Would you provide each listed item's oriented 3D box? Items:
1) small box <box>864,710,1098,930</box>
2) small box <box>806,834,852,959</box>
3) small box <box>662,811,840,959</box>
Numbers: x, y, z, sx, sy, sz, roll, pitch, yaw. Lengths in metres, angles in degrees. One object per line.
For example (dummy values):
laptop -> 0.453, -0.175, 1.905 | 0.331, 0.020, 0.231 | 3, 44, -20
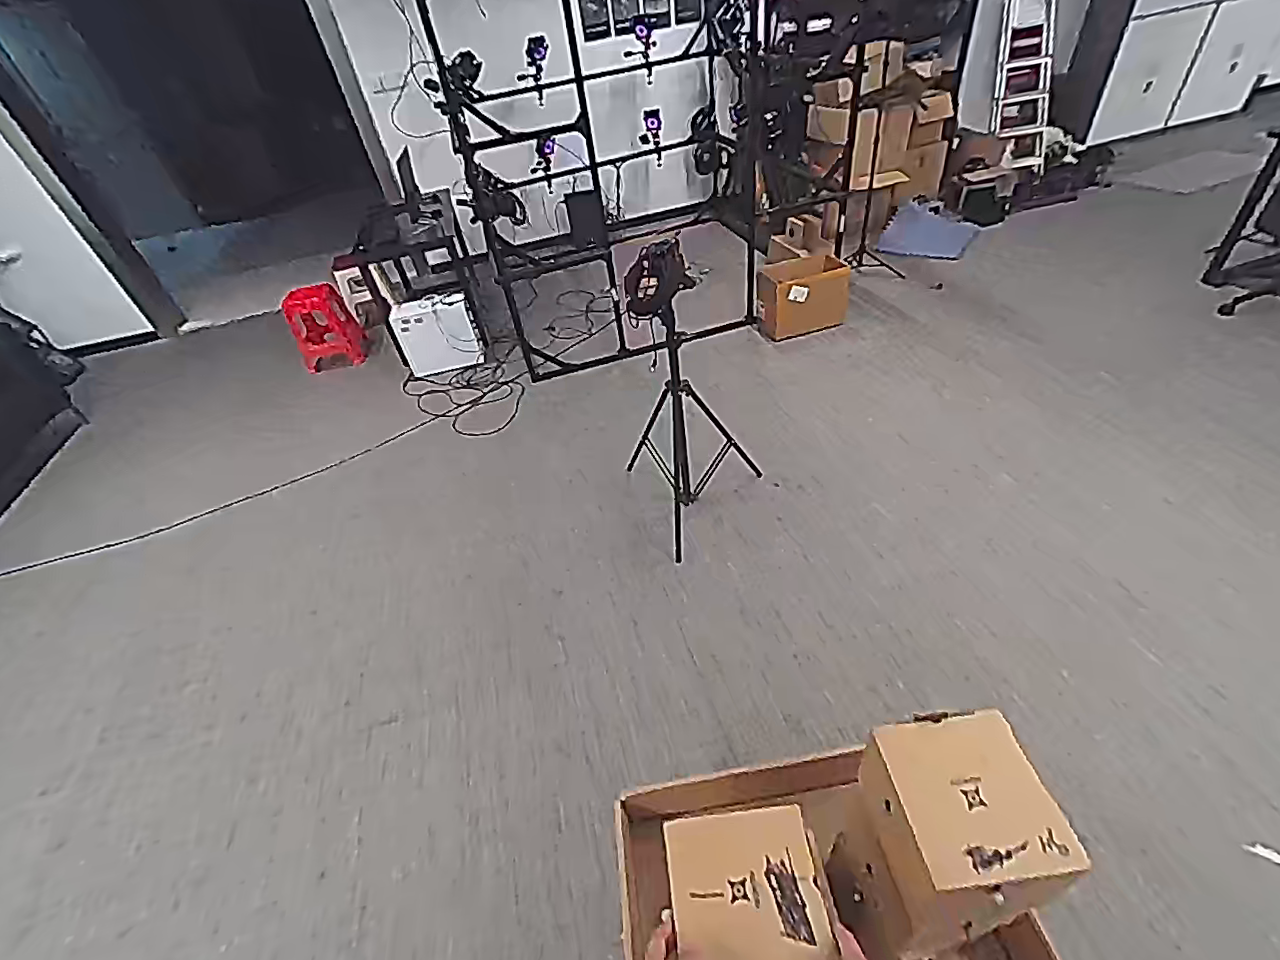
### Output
small box -> 0.391, 0.416, 0.665 | 0.168, 0.176, 0.179 | -10, 39, 3
small box -> 0.218, 0.705, 0.878 | 0.179, 0.176, 0.168 | -9, 40, 0
small box -> 0.126, 0.533, 0.662 | 0.179, 0.176, 0.168 | -8, 40, 0
